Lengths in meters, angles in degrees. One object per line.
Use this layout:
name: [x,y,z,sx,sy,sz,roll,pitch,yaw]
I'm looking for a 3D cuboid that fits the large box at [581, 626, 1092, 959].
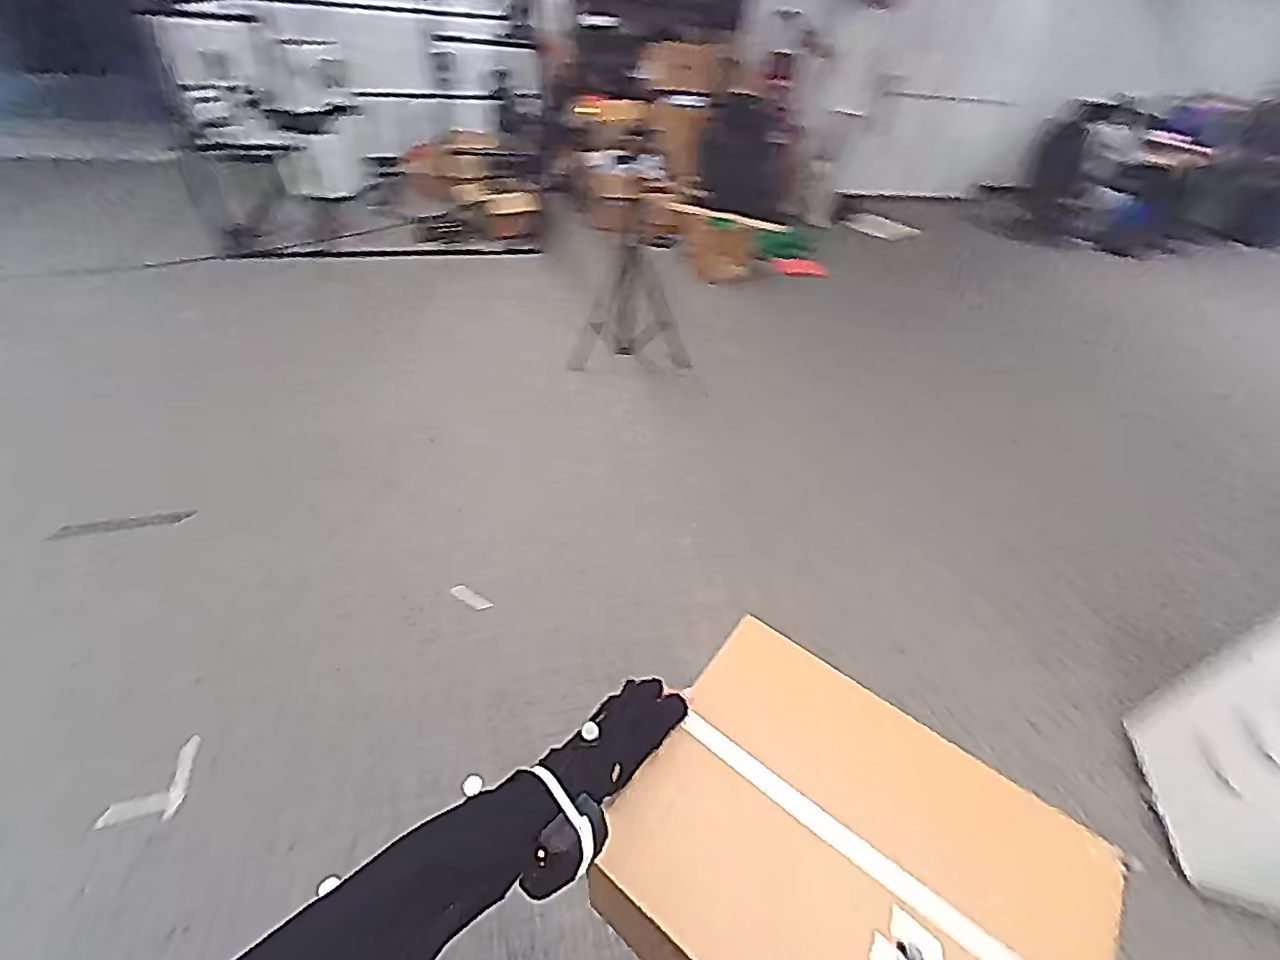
large box: [0.183,0.453,0.615,0.408,0.320,0.320,29,50,24]
